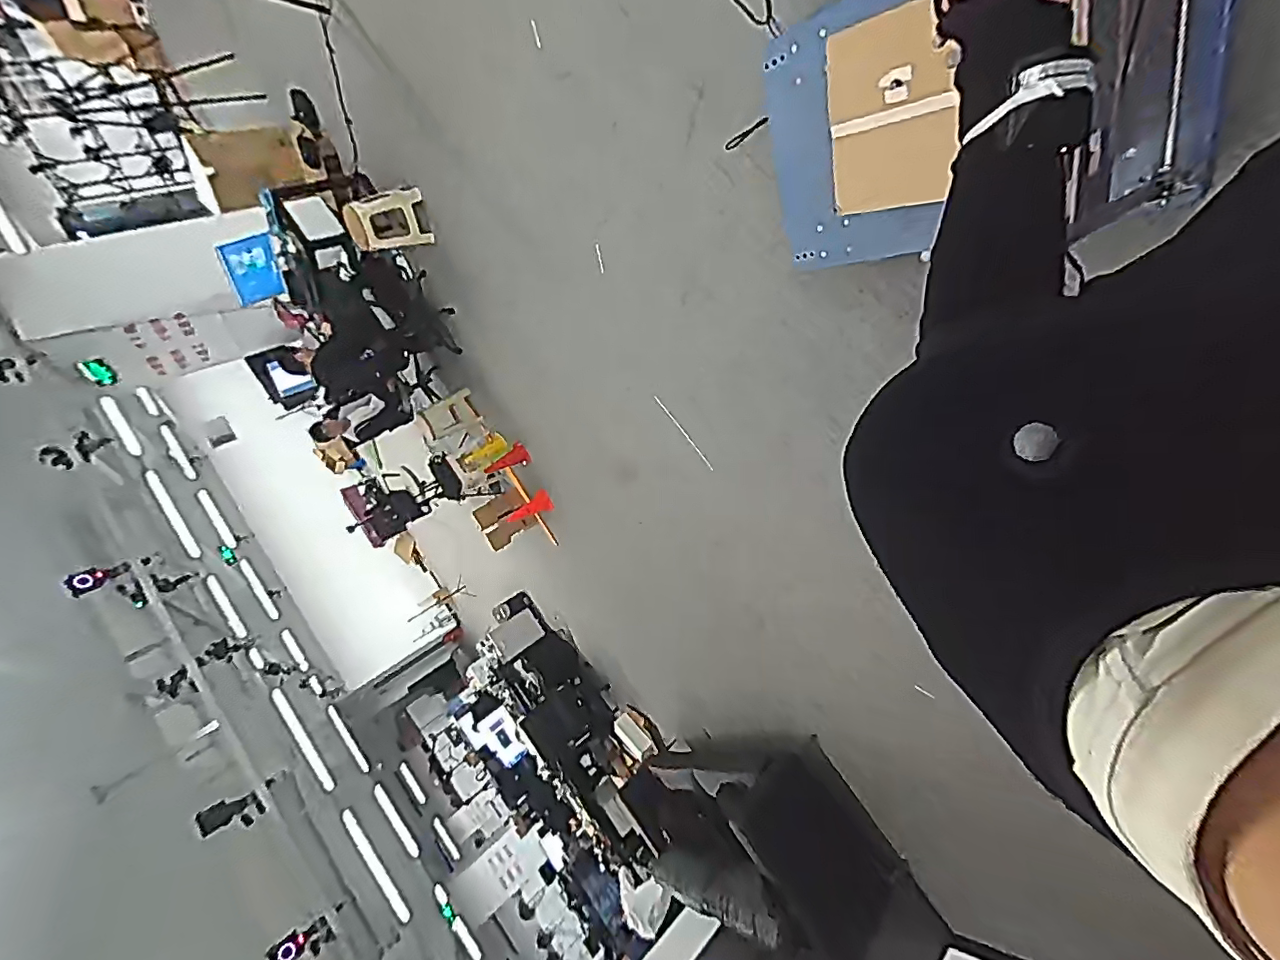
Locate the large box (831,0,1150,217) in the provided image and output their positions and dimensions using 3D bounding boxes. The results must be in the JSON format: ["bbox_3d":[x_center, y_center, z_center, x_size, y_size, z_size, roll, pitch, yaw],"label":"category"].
[{"bbox_3d":[0.625,-0.712,0.993,0.408,0.320,0.320,20,133,48],"label":"large box"}]
